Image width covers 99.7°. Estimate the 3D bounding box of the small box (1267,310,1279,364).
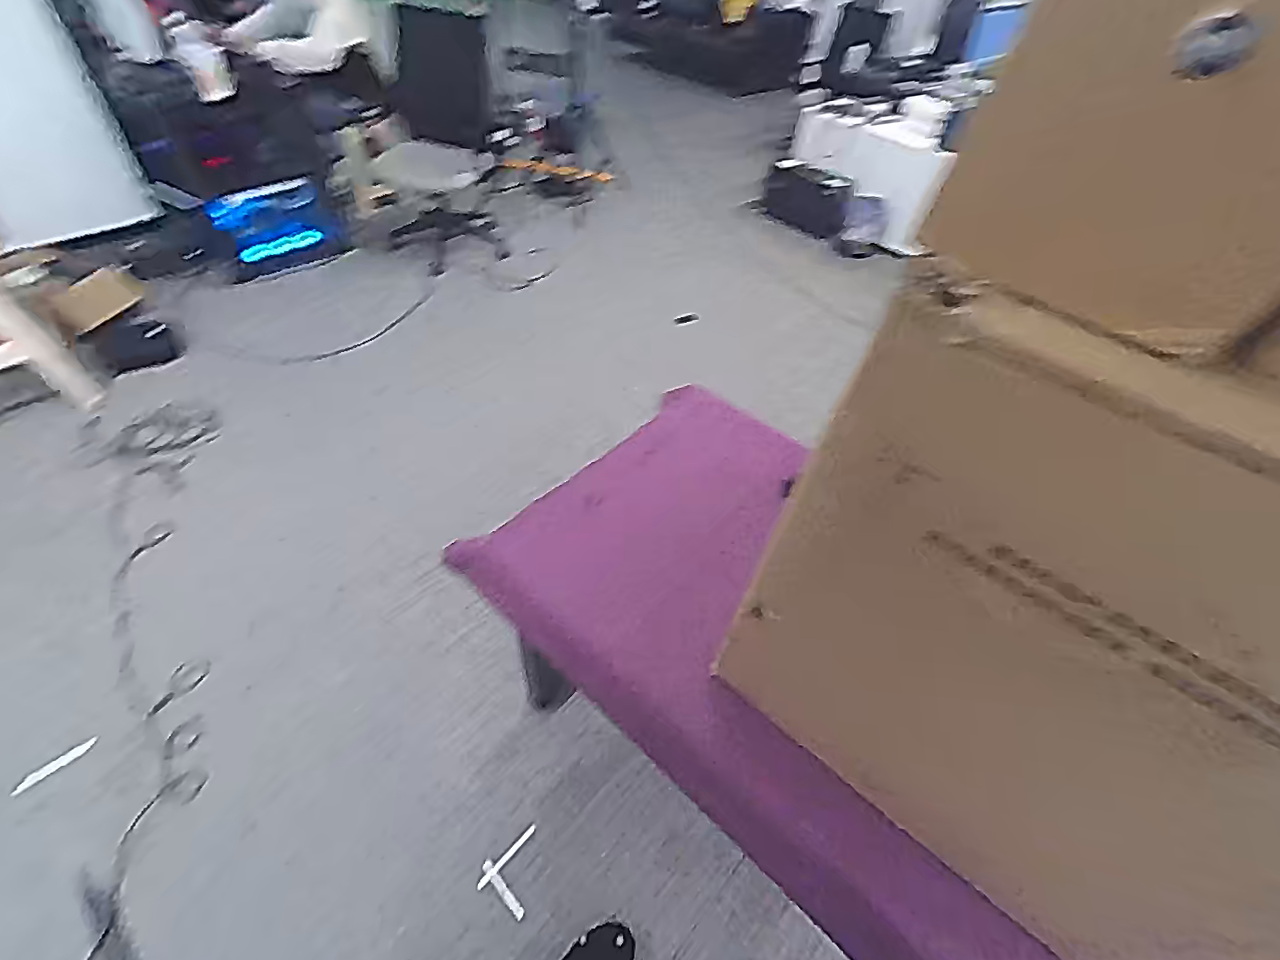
[{"bbox_3d":[0.469,-0.113,0.252,0.168,0.176,0.179,38,57,25],"label":"small box"}]
